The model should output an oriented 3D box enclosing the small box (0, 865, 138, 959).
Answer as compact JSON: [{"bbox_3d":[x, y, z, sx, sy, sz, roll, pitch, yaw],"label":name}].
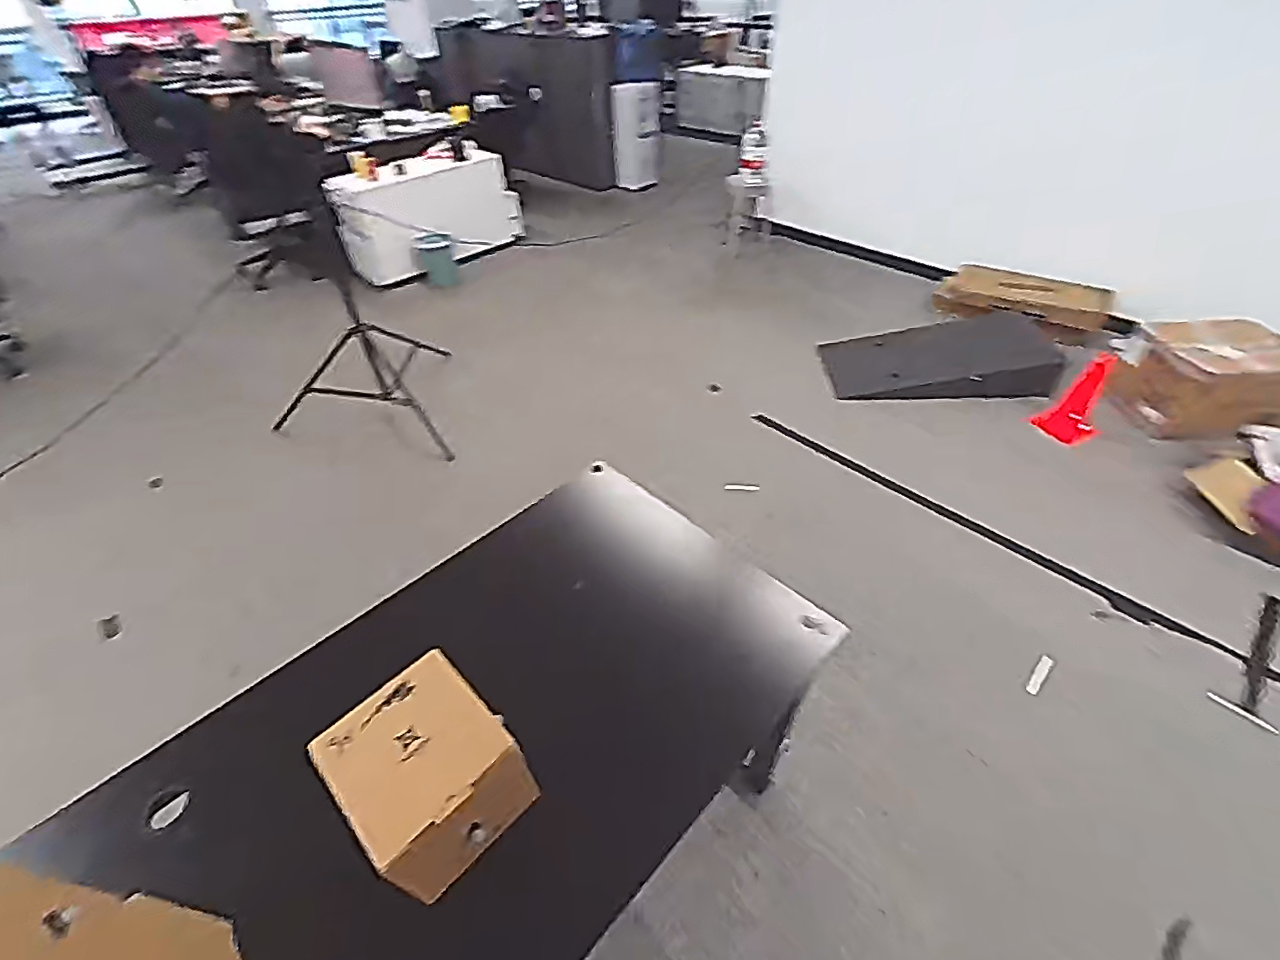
[{"bbox_3d":[-0.486,0.417,0.369,0.168,0.176,0.179,-36,54,-29],"label":"small box"}]

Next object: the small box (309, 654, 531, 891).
[{"bbox_3d":[-0.255,0.359,0.662,0.179,0.176,0.168,32,53,31],"label":"small box"}]

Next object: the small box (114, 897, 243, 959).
[{"bbox_3d":[-0.481,0.534,0.482,0.179,0.176,0.168,-34,51,-30],"label":"small box"}]
